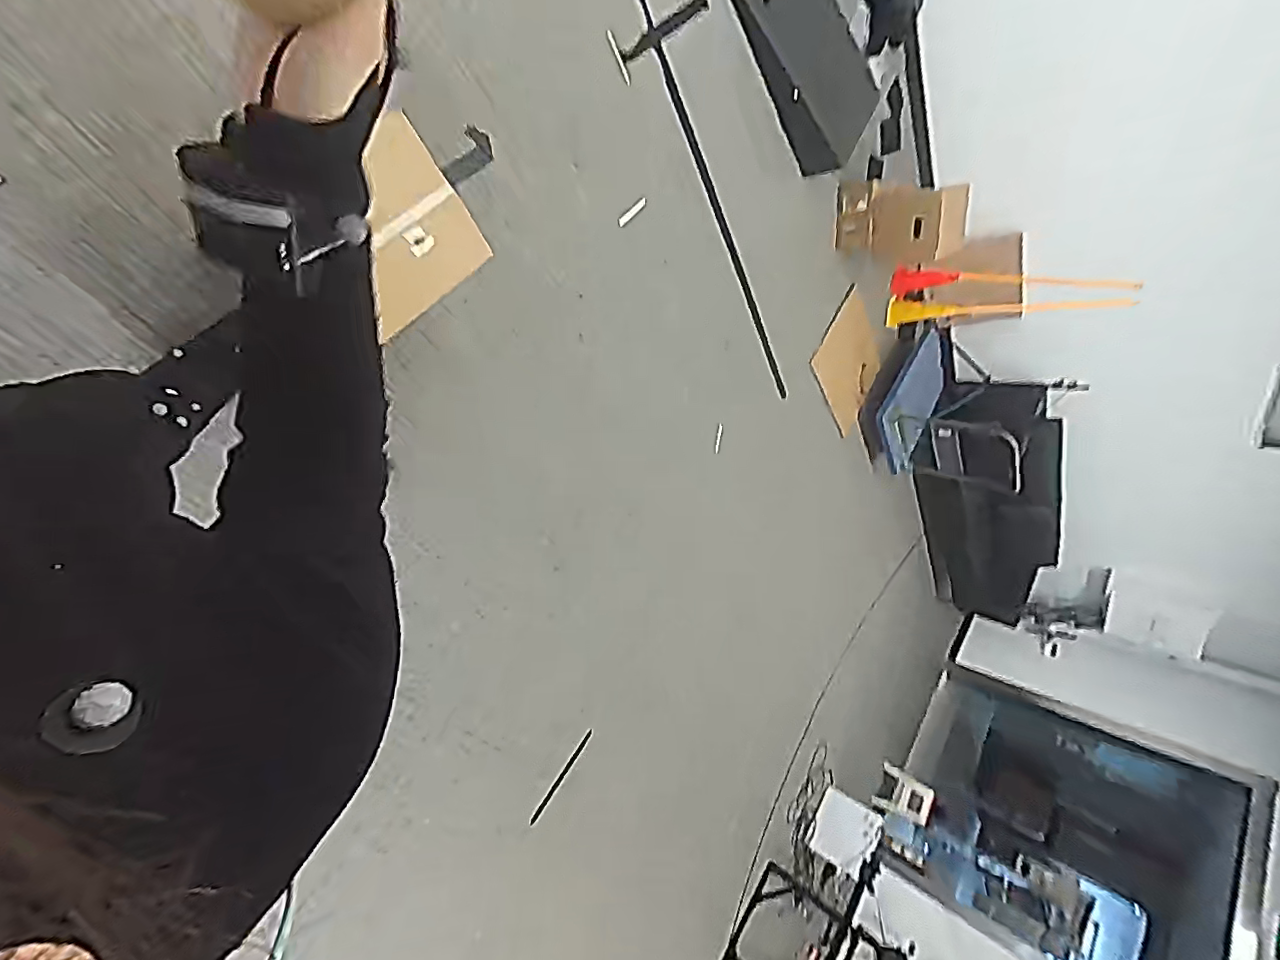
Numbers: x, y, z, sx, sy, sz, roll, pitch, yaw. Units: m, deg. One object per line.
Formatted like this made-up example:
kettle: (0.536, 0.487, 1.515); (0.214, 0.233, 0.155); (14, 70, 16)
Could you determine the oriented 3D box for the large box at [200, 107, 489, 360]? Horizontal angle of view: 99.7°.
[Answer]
large box: (-0.621, -0.502, 1.161); (0.408, 0.320, 0.320); (-52, 132, -24)
